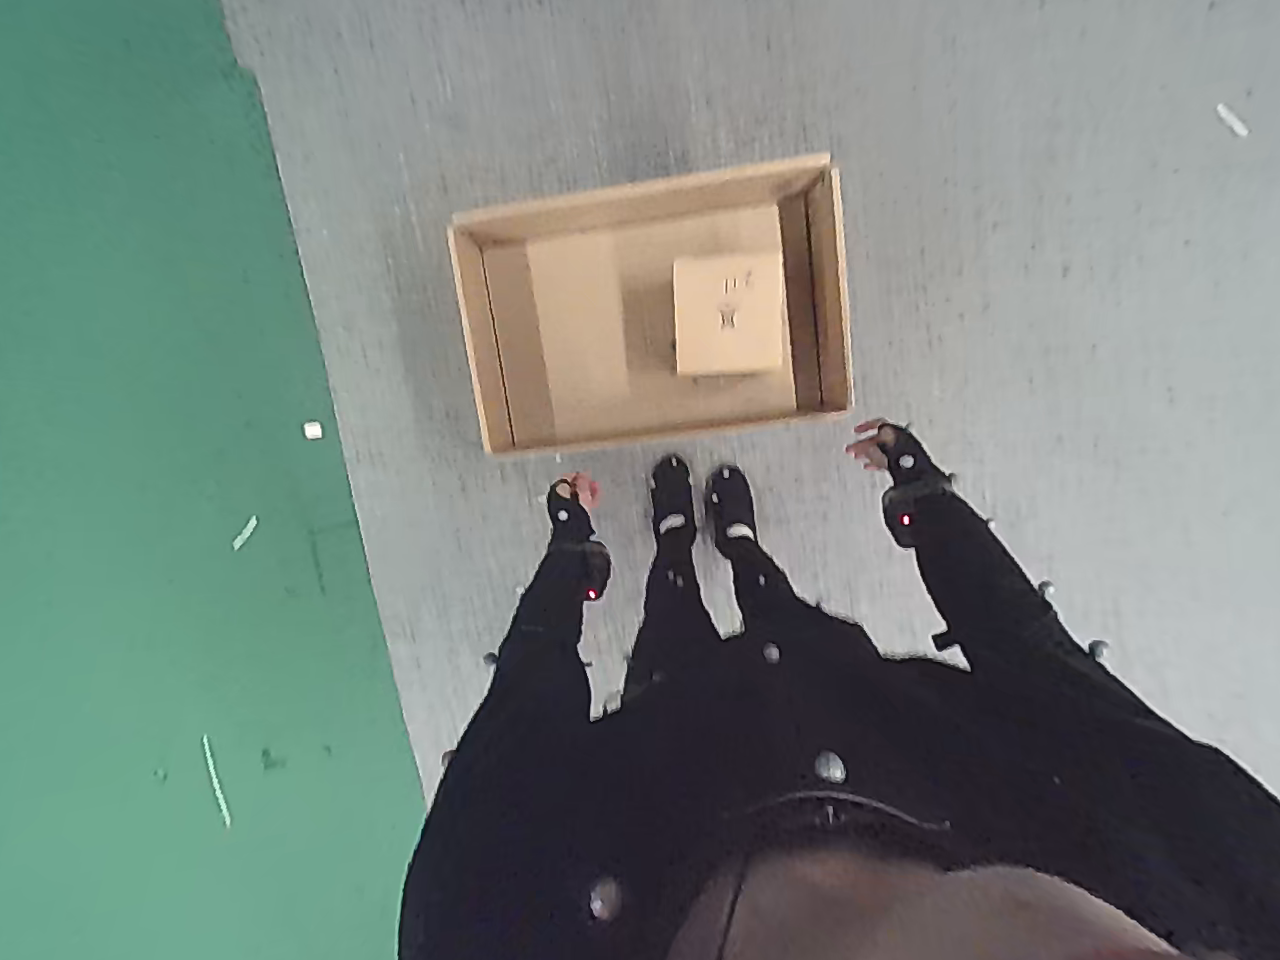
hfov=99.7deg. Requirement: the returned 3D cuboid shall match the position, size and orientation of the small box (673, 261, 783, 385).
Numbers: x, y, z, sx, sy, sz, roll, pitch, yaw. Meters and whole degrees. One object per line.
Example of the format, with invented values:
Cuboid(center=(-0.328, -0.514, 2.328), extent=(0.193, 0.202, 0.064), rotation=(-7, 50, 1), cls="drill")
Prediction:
Cuboid(center=(0.140, -0.249, 0.898), extent=(0.168, 0.176, 0.179), rotation=(-2, 97, 4), cls="small box")
